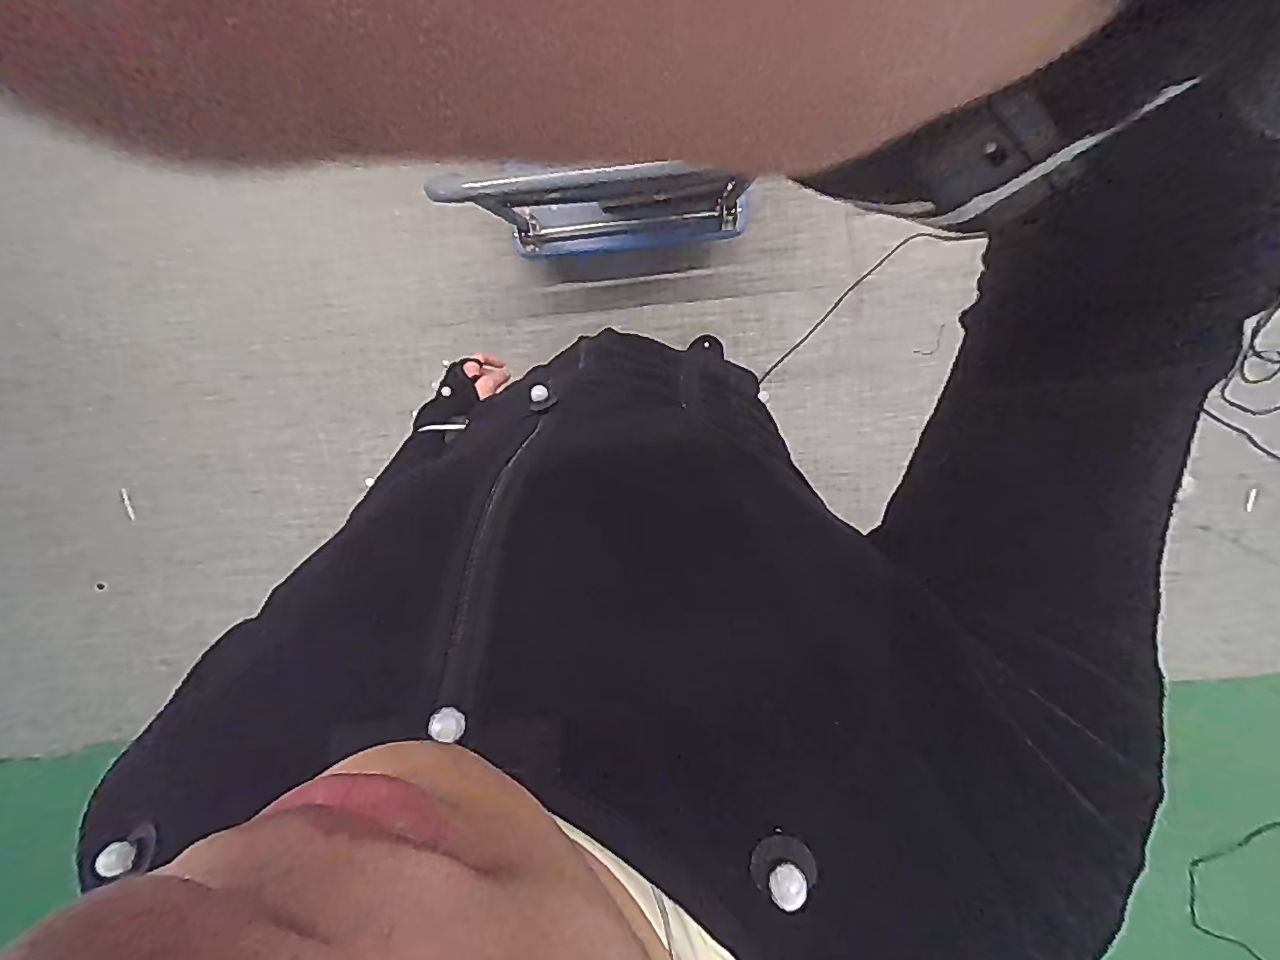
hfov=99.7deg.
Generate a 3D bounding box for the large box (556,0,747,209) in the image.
[{"bbox_3d":[0.025,-0.818,1.093,0.320,0.320,0.408,-6,104,3],"label":"large box"}]
